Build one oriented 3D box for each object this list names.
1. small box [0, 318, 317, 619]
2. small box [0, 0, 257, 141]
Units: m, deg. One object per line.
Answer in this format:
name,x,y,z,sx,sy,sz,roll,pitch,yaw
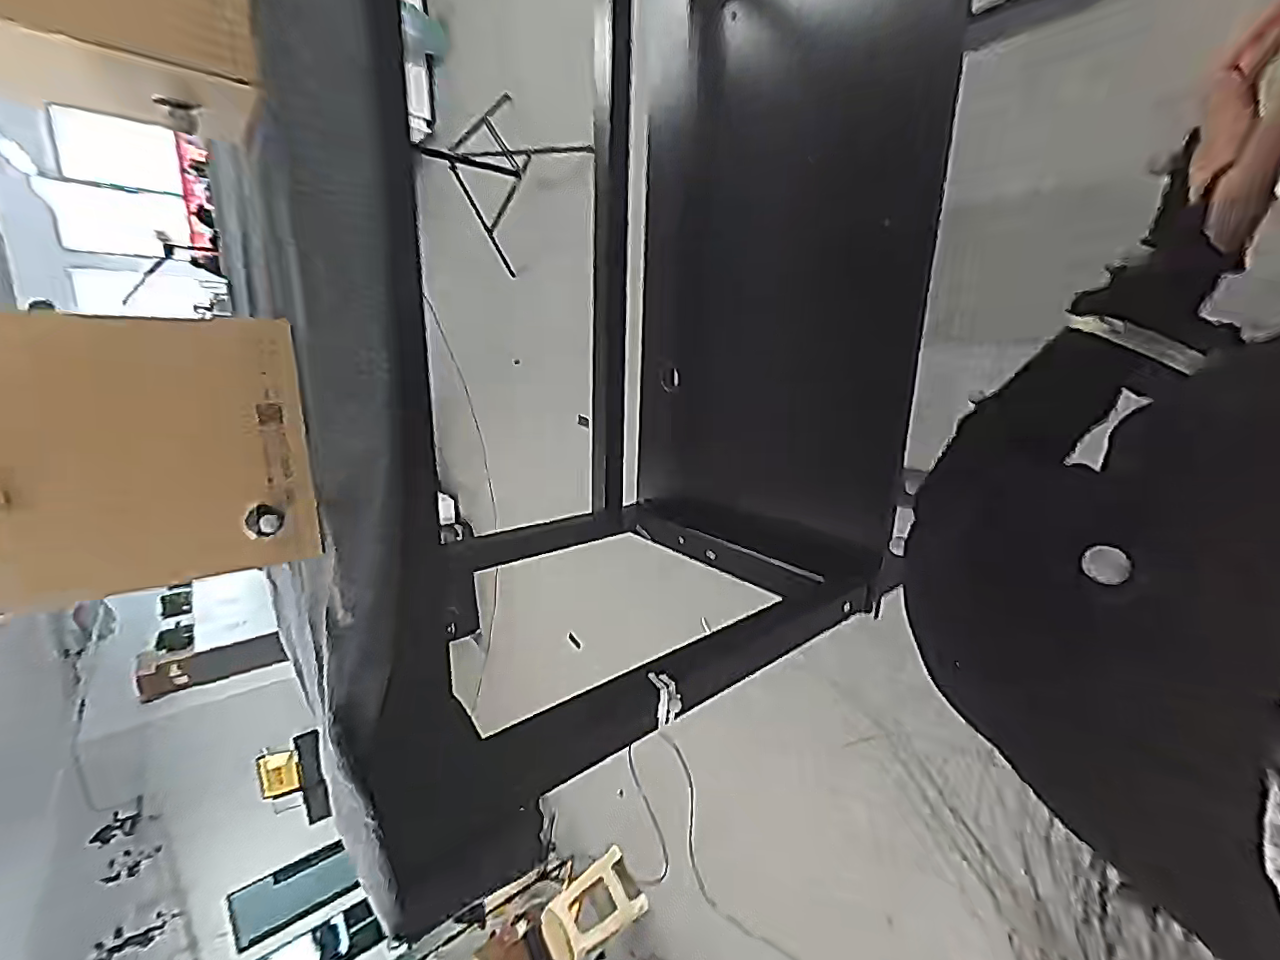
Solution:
small box,-0.345,-0.027,0.390,0.179,0.176,0.168,14,109,51
small box,-0.334,-0.318,0.308,0.179,0.176,0.168,23,115,47
